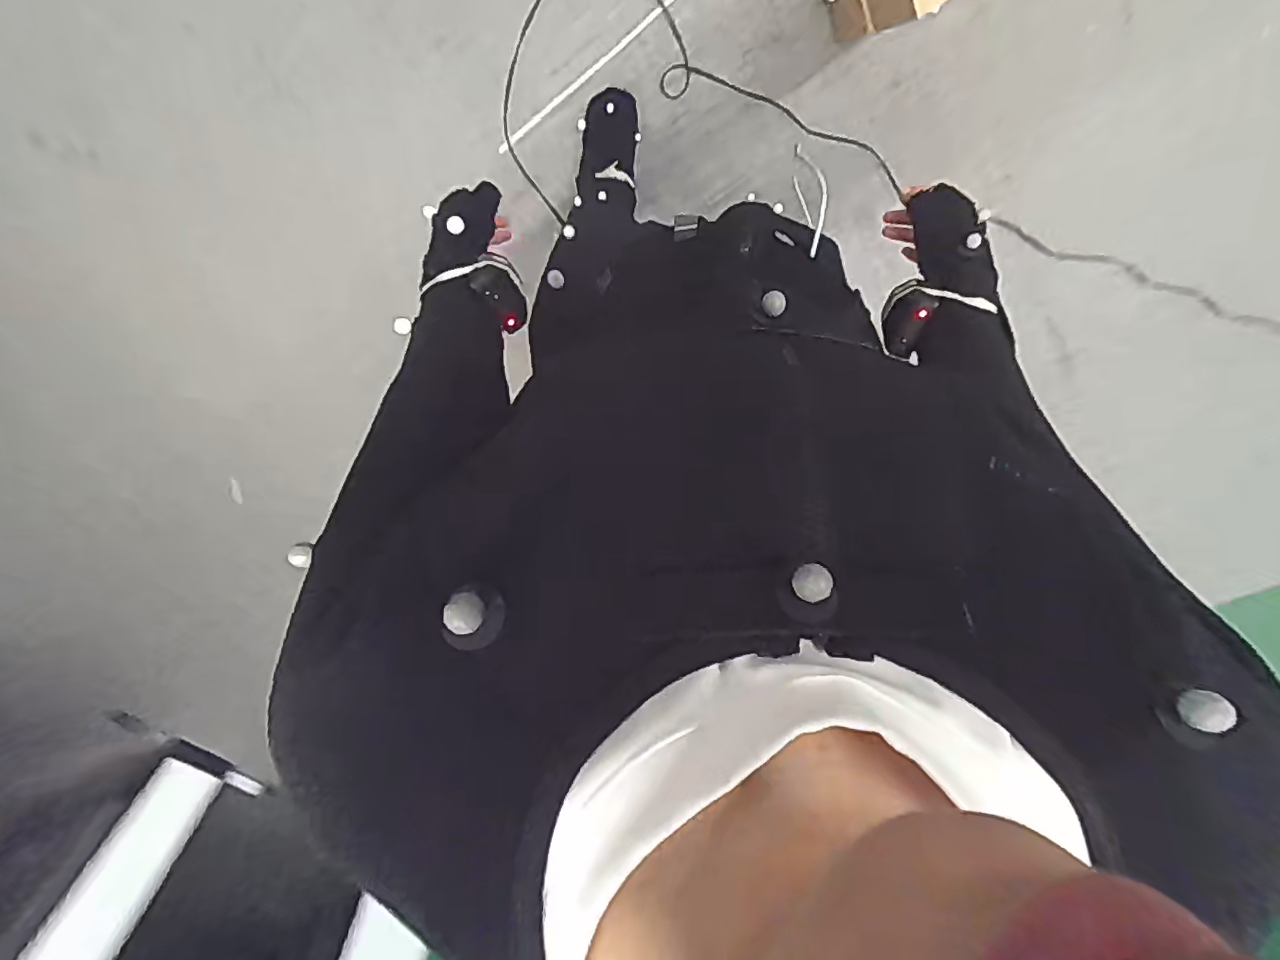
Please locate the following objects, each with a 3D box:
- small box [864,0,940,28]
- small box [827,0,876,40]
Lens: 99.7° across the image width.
[{"bbox_3d":[0.427,-0.822,0.801,0.168,0.176,0.179,-26,121,16],"label":"small box"},{"bbox_3d":[0.421,-0.912,0.940,0.179,0.176,0.168,-27,120,17],"label":"small box"}]
